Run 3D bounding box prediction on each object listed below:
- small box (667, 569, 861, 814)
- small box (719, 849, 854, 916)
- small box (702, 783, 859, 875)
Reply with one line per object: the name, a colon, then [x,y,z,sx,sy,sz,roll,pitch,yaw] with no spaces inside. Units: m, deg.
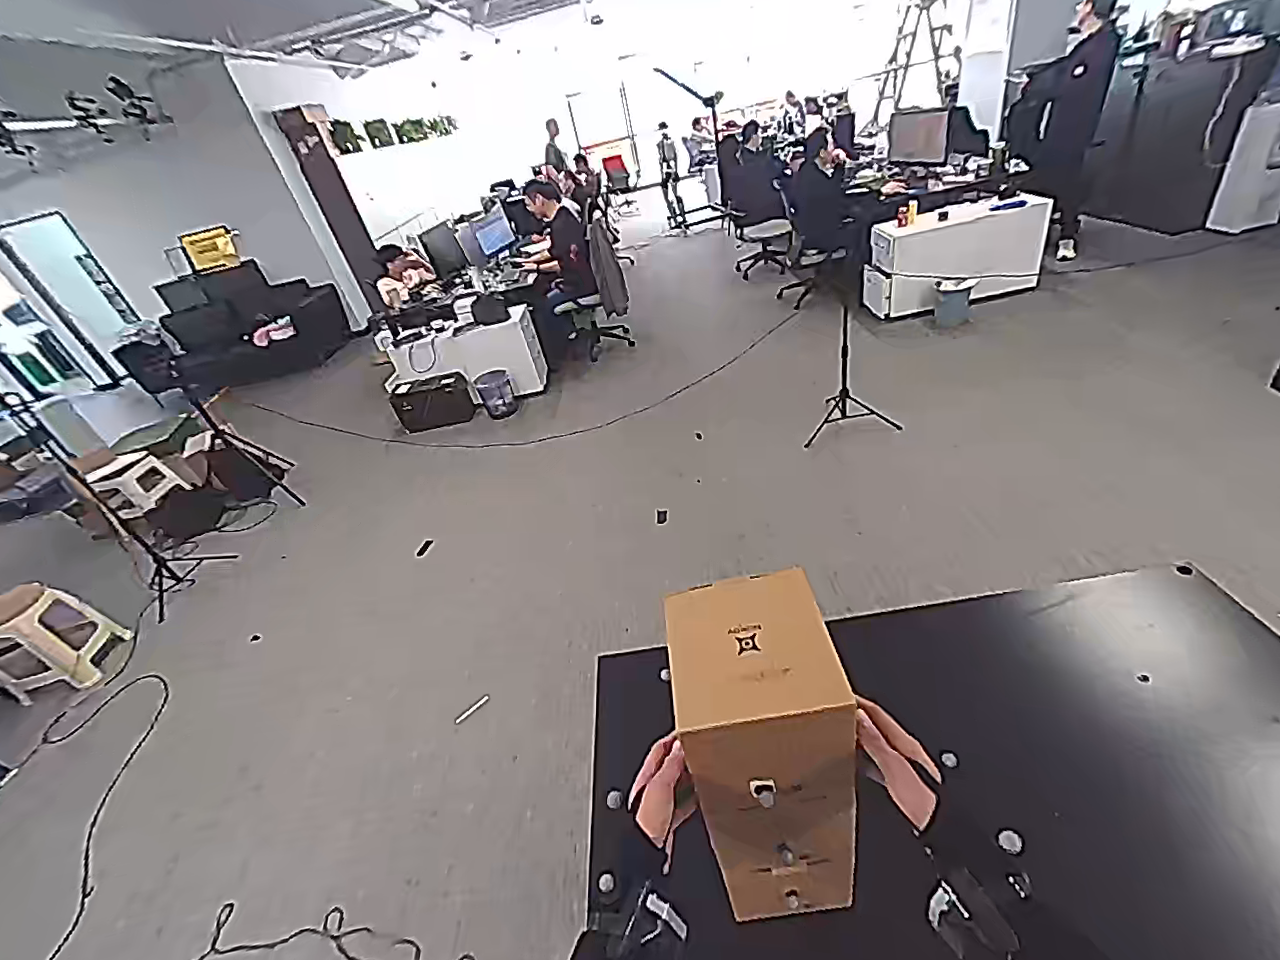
small box: [0.127,0.228,0.592,0.168,0.176,0.179,-12,34,6]
small box: [0.196,0.492,0.774,0.168,0.176,0.179,-12,35,4]
small box: [0.162,0.359,0.683,0.168,0.176,0.179,-12,34,5]
